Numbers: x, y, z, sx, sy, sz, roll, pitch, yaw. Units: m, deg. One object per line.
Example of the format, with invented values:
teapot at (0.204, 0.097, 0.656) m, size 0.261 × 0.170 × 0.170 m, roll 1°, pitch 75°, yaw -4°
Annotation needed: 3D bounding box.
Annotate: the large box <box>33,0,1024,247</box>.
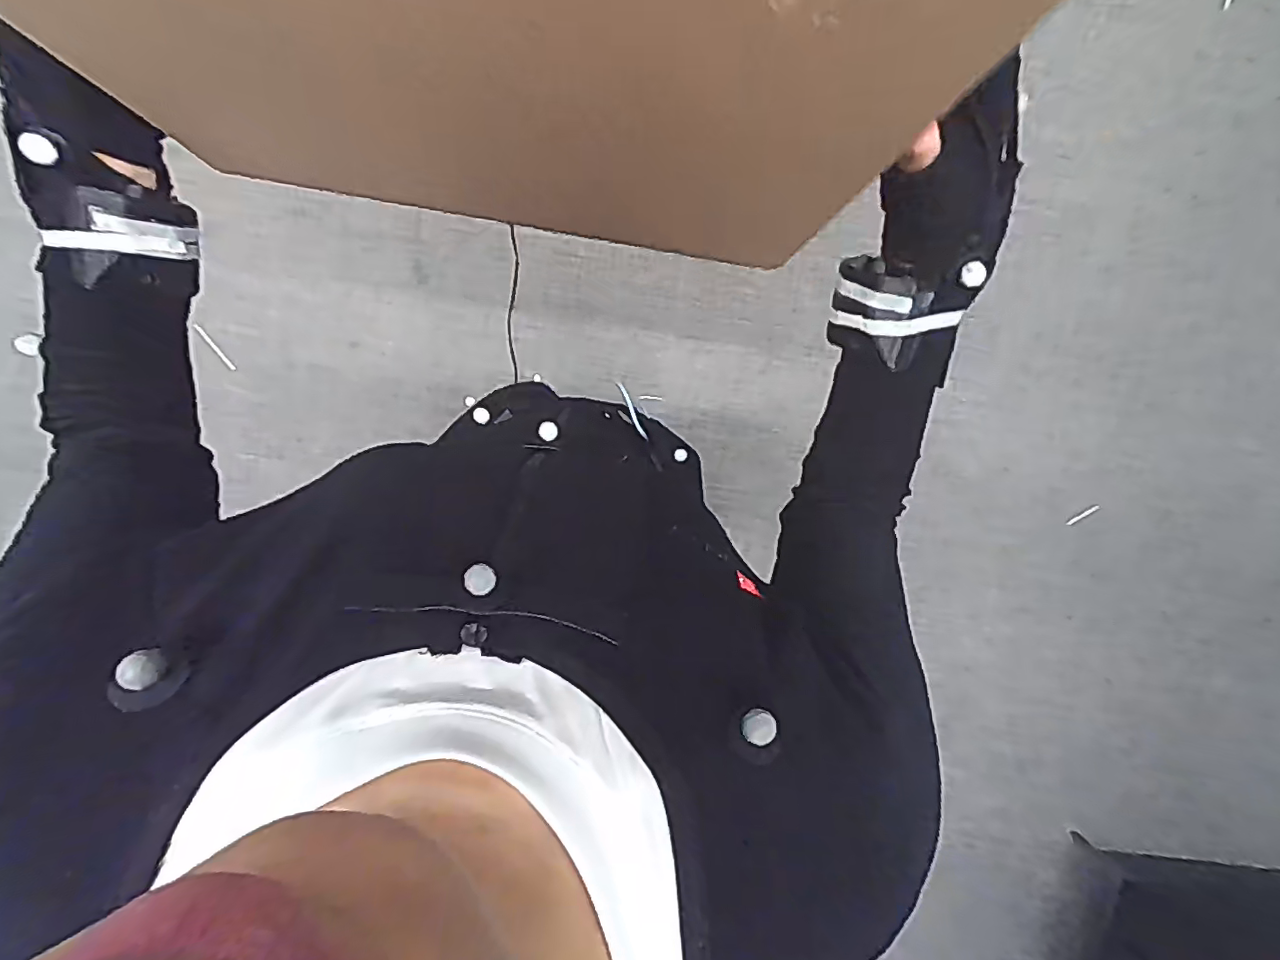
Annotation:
large box at (-0.055, -0.334, 0.230) m, size 0.408 × 0.320 × 0.320 m, roll 8°, pitch 94°, yaw -6°
